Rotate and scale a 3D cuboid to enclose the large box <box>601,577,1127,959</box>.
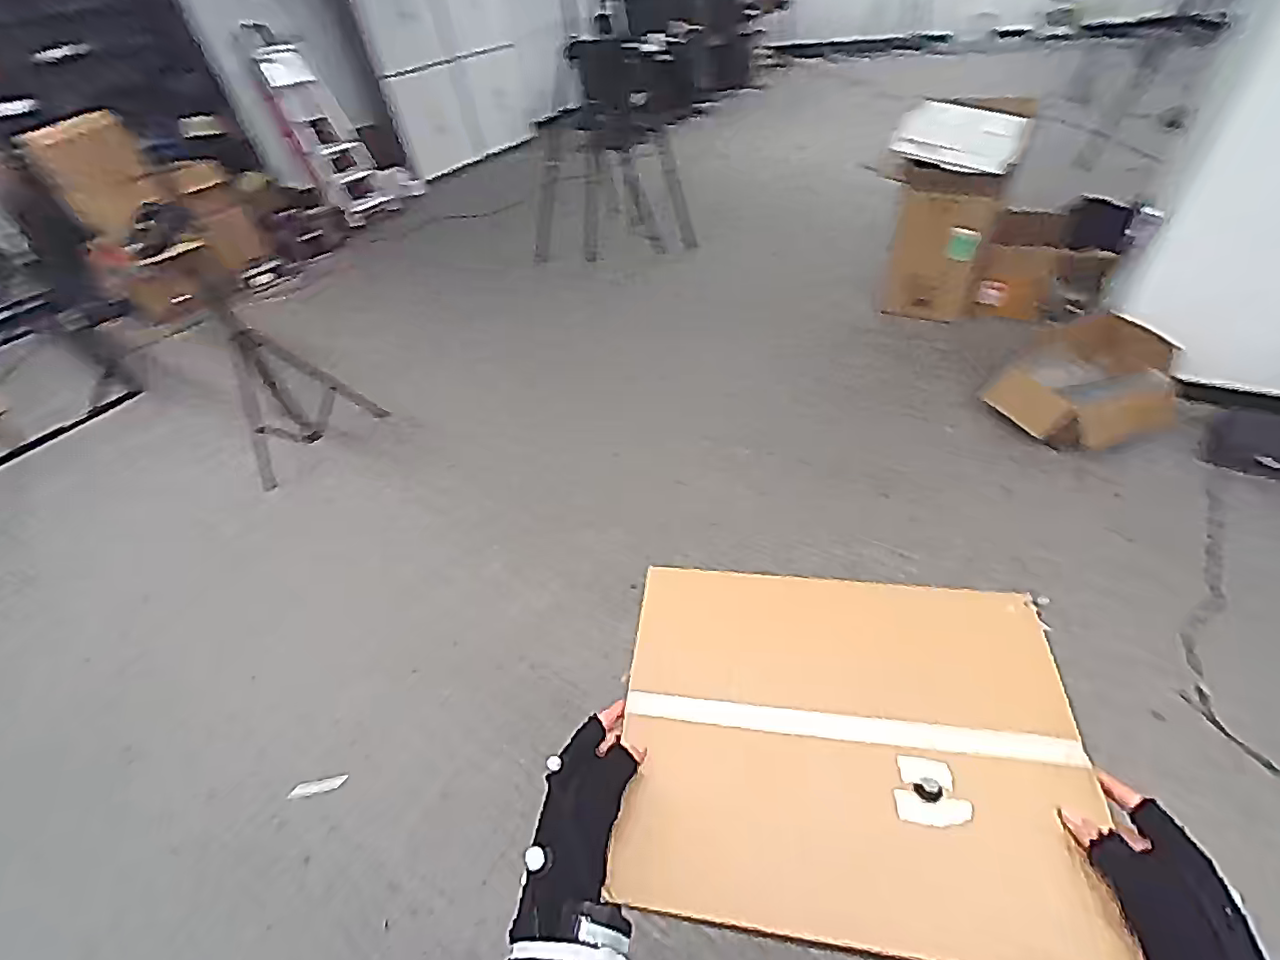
[{"bbox_3d":[0.192,0.334,0.628,0.408,0.320,0.320,2,50,9],"label":"large box"}]
